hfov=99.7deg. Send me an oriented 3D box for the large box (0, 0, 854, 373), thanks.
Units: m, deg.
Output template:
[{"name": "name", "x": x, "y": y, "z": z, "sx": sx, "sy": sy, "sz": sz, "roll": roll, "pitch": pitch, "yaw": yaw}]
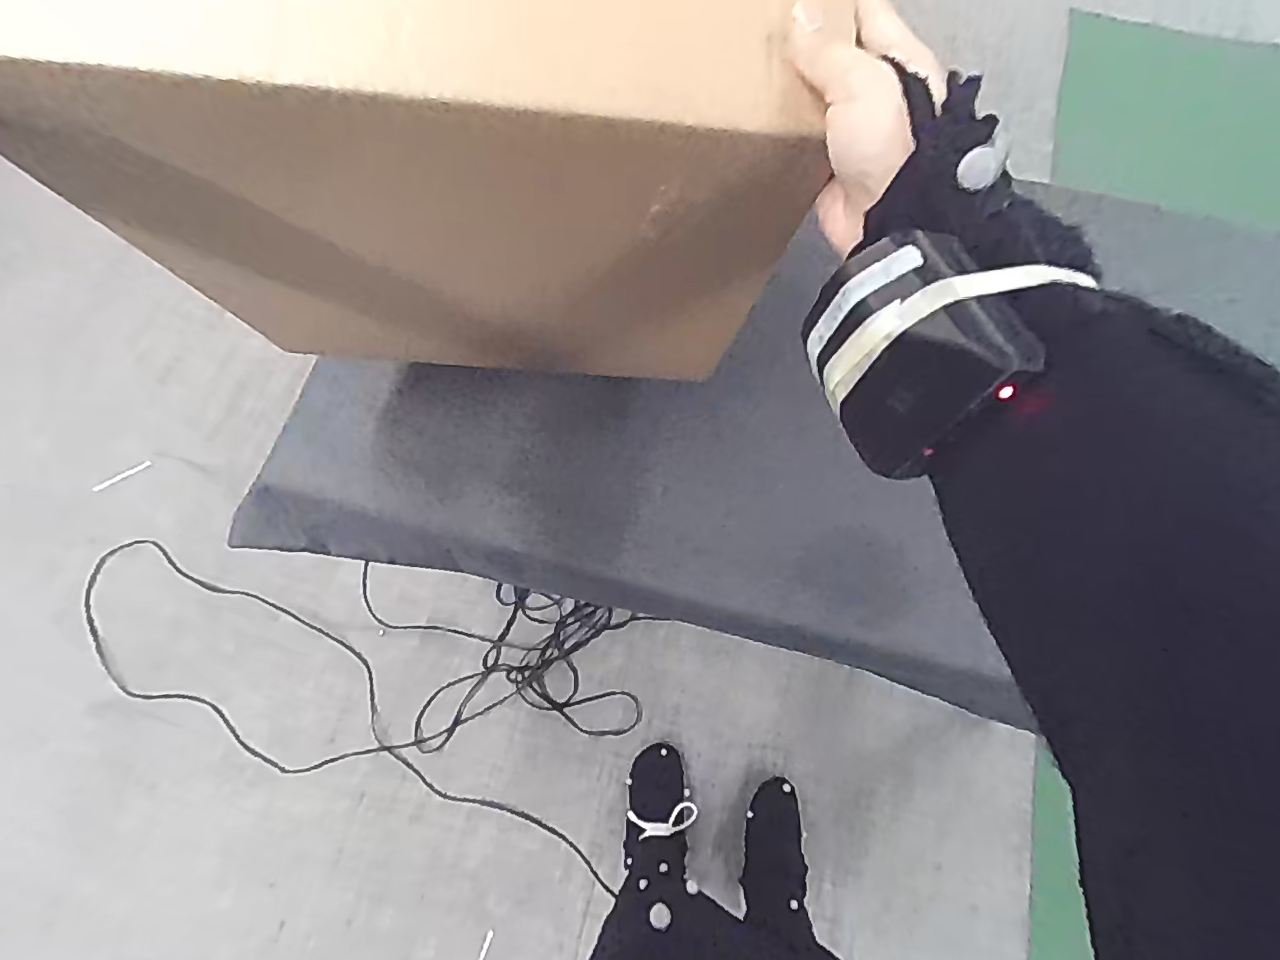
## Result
[{"name": "large box", "x": -0.110, "y": -0.285, "z": 0.403, "sx": 0.408, "sy": 0.320, "sz": 0.320, "roll": 3, "pitch": 81, "yaw": -6}]
